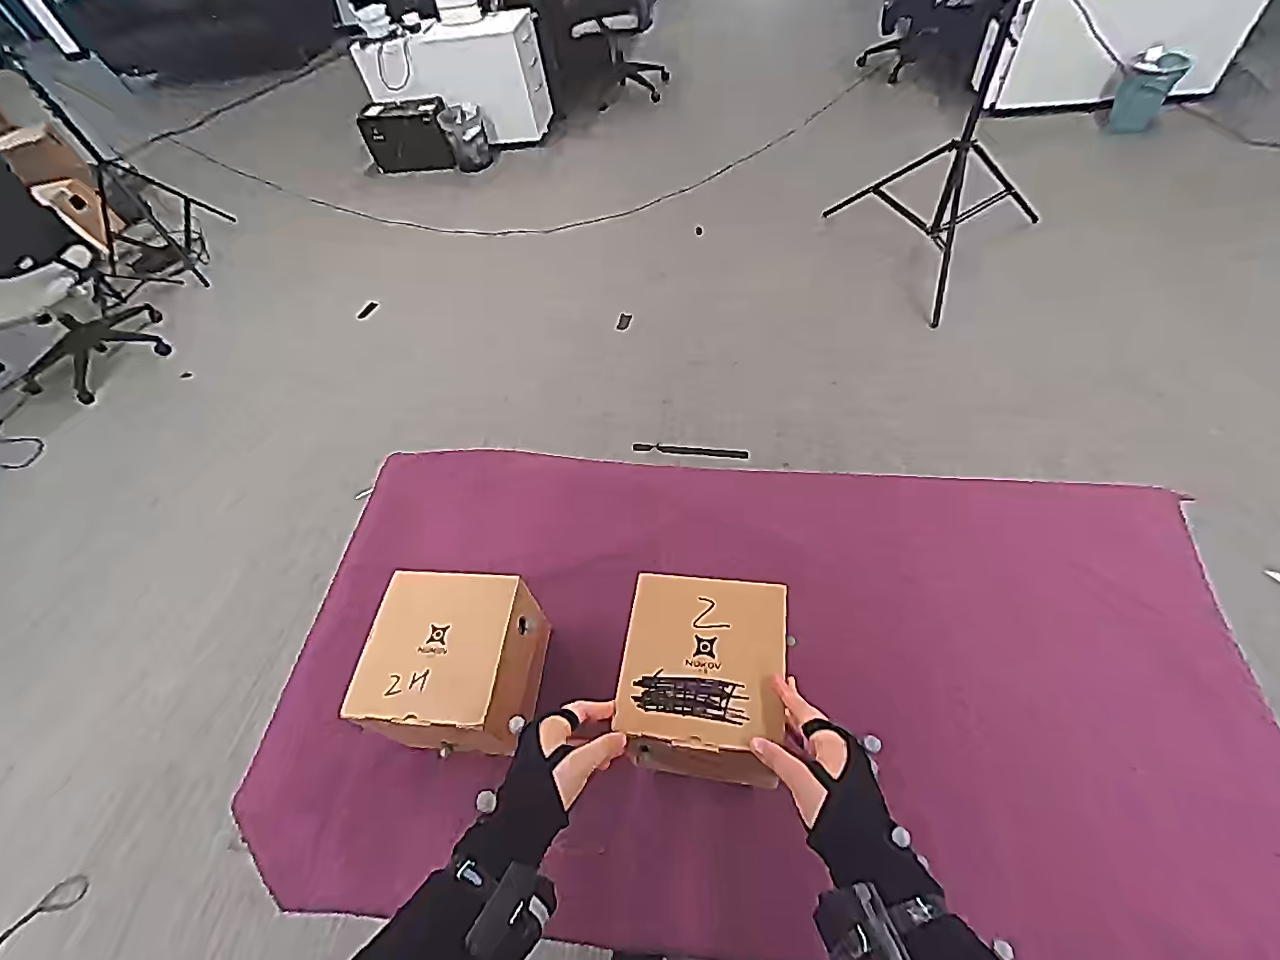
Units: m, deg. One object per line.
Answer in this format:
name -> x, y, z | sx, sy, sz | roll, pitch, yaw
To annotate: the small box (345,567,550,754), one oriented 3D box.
small box -> -0.220, 0.227, 0.677 | 0.168, 0.176, 0.179 | 1, 55, 8
